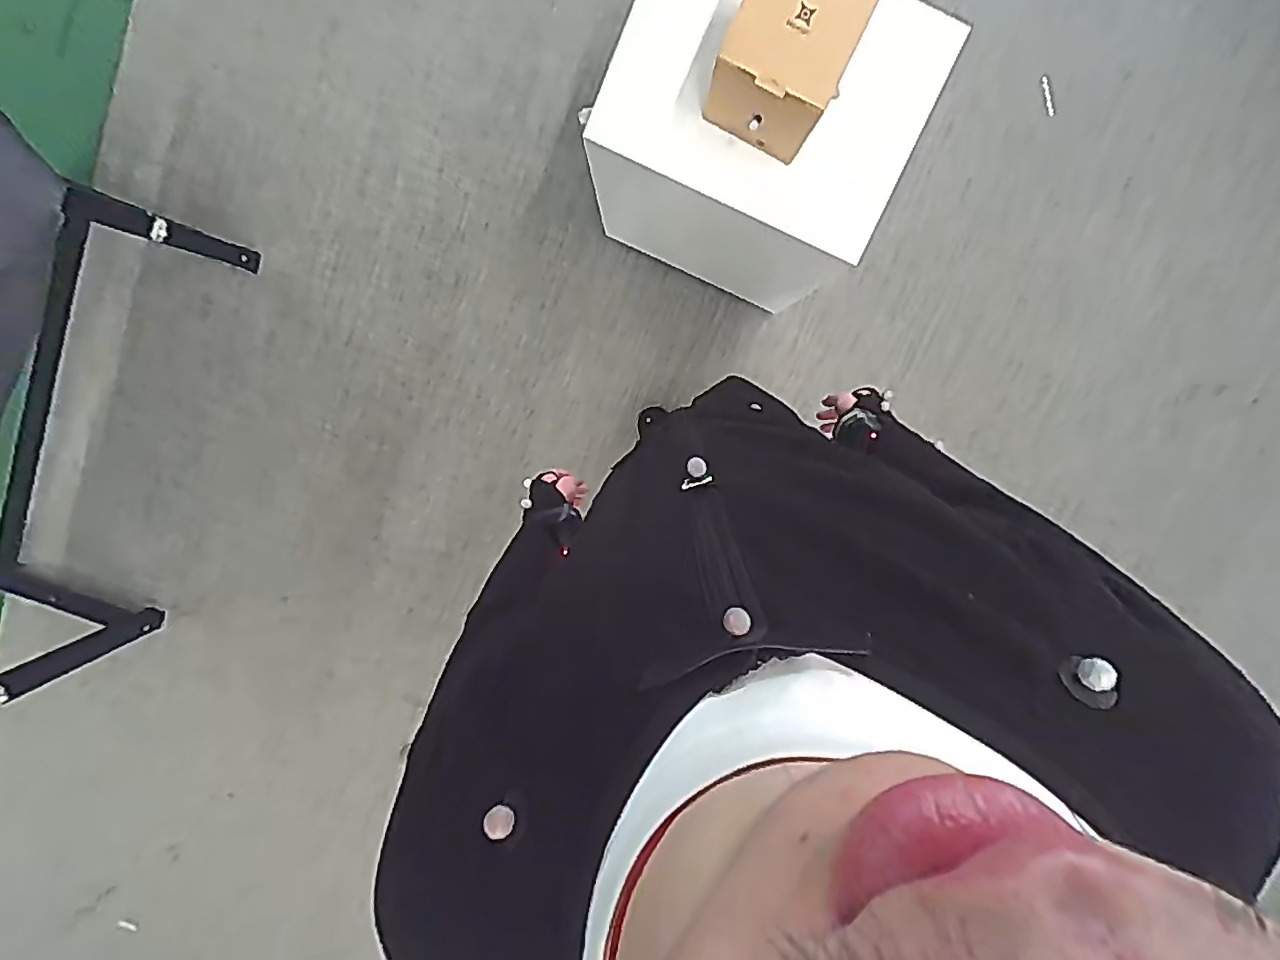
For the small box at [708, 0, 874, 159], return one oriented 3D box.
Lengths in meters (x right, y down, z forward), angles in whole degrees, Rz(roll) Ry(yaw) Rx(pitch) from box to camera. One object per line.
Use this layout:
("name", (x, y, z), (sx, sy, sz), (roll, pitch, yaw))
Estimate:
("small box", (0.210, -0.619, 0.799), (0.168, 0.176, 0.179), (23, 97, -3))
